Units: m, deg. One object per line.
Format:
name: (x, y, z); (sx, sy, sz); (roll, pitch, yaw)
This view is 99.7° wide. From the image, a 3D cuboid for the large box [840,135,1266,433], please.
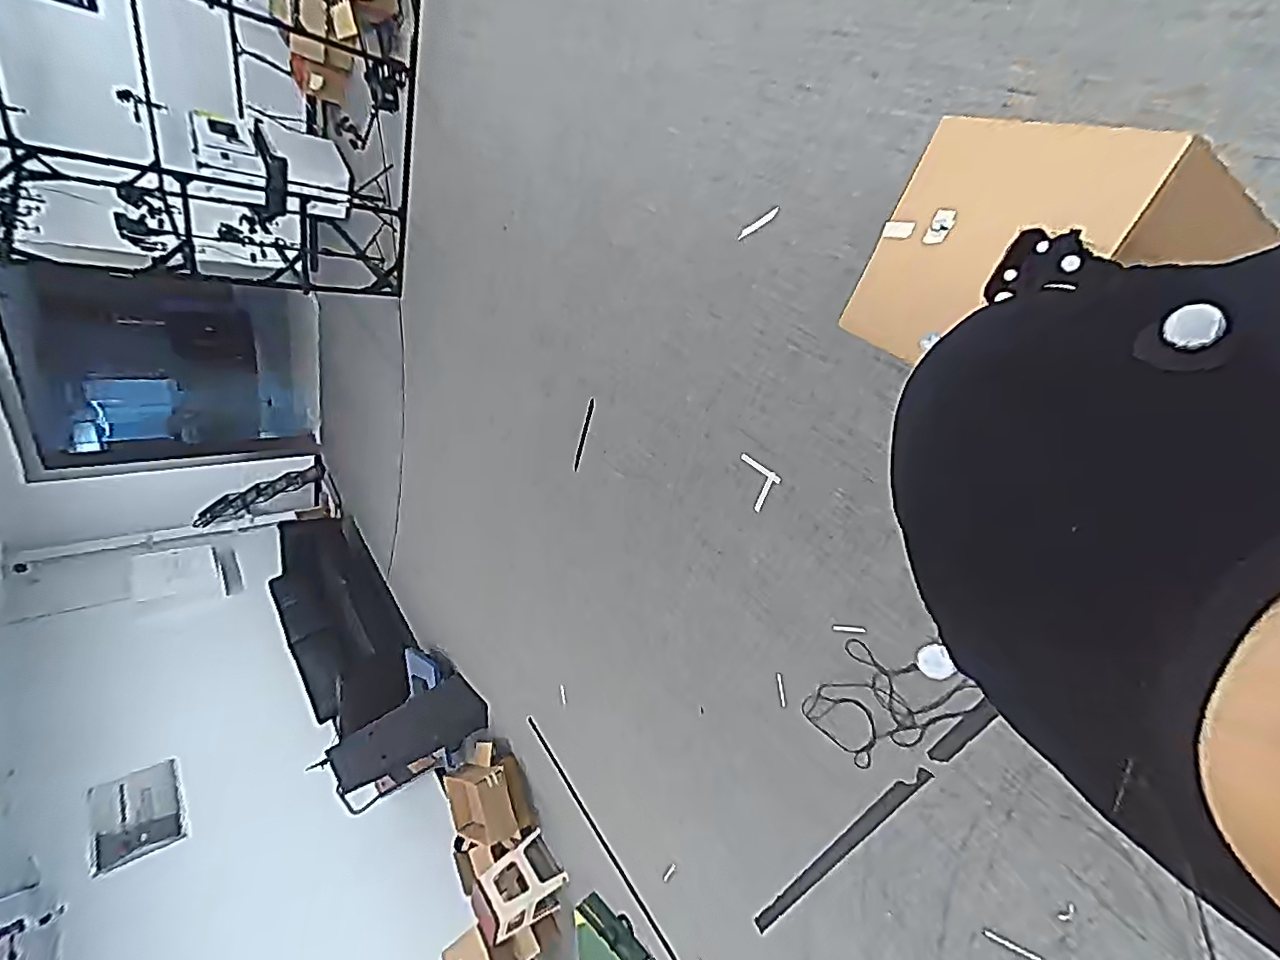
large box: (0.605, -0.290, 0.837); (0.320, 0.408, 0.320); (54, 132, 46)
